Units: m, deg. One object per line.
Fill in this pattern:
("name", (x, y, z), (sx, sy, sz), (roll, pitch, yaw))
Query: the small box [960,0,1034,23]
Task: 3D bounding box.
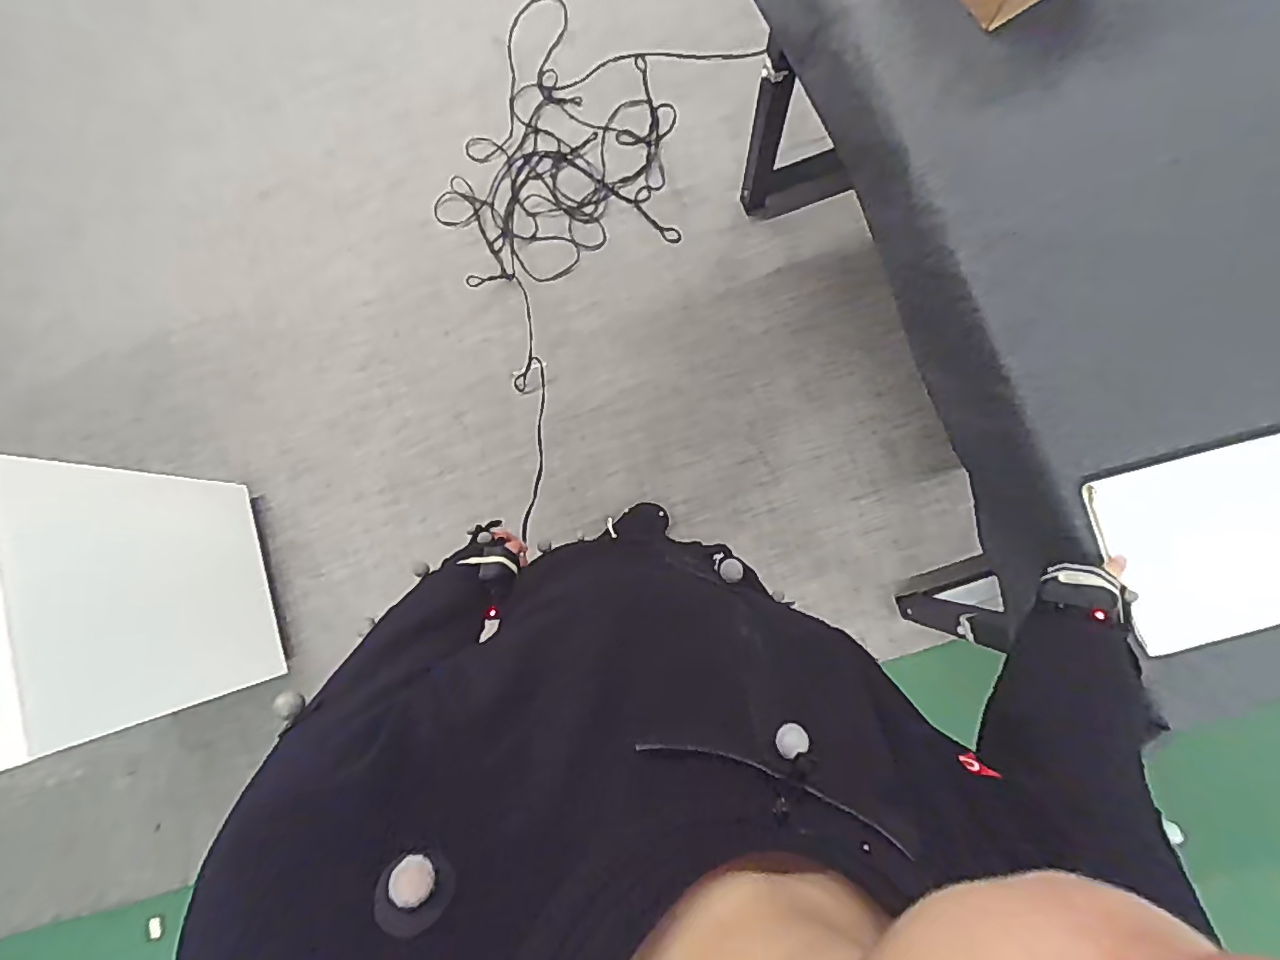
("small box", (0.459, -0.698, 0.623), (0.168, 0.176, 0.179), (-32, 83, 0))
